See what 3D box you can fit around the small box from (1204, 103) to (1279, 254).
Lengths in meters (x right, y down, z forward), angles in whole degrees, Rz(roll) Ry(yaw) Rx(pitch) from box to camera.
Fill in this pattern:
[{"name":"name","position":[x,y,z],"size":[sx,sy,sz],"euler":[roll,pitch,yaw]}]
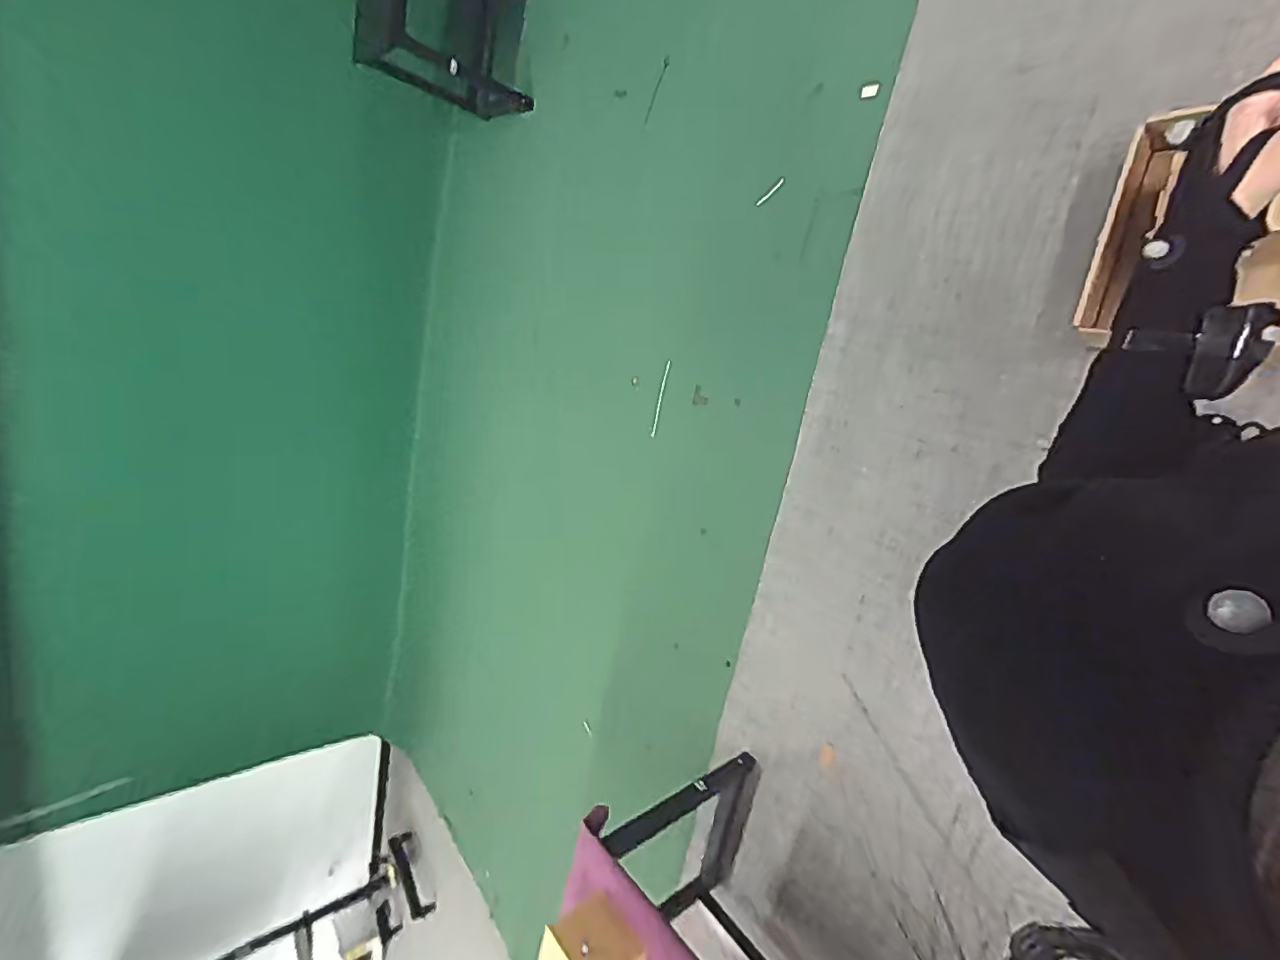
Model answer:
[{"name":"small box","position":[0.986,-0.448,0.808],"size":[0.168,0.176,0.179],"euler":[16,104,45]}]

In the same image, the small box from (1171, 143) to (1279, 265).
[{"name":"small box","position":[1.079,-0.483,0.947],"size":[0.179,0.176,0.168],"euler":[18,106,45]}]

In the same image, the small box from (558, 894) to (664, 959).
[{"name":"small box","position":[-0.072,1.122,1.264],"size":[0.179,0.176,0.168],"euler":[24,107,45]}]
